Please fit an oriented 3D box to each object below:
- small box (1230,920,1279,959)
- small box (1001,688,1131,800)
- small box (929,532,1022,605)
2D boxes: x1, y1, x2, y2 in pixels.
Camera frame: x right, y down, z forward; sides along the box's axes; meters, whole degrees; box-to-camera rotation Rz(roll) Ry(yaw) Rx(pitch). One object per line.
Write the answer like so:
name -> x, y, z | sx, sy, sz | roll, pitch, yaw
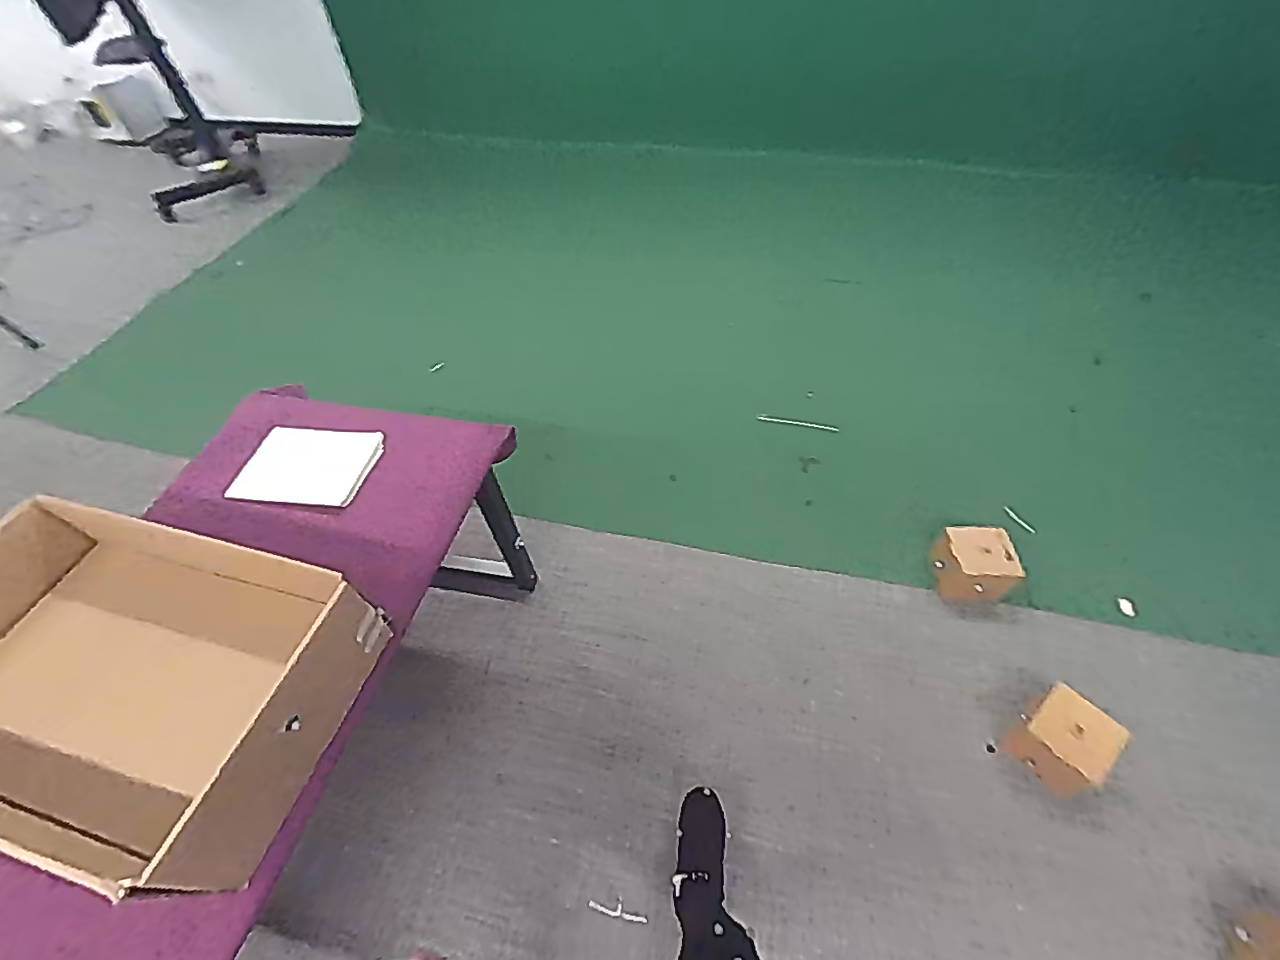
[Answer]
small box -> 1.335, 1.006, 1.060 | 0.168, 0.176, 0.179 | -38, 58, -25
small box -> 1.052, 0.661, 1.351 | 0.179, 0.176, 0.168 | -36, 58, -22
small box -> 1.015, 0.274, 1.659 | 0.179, 0.176, 0.168 | 0, 52, 4
